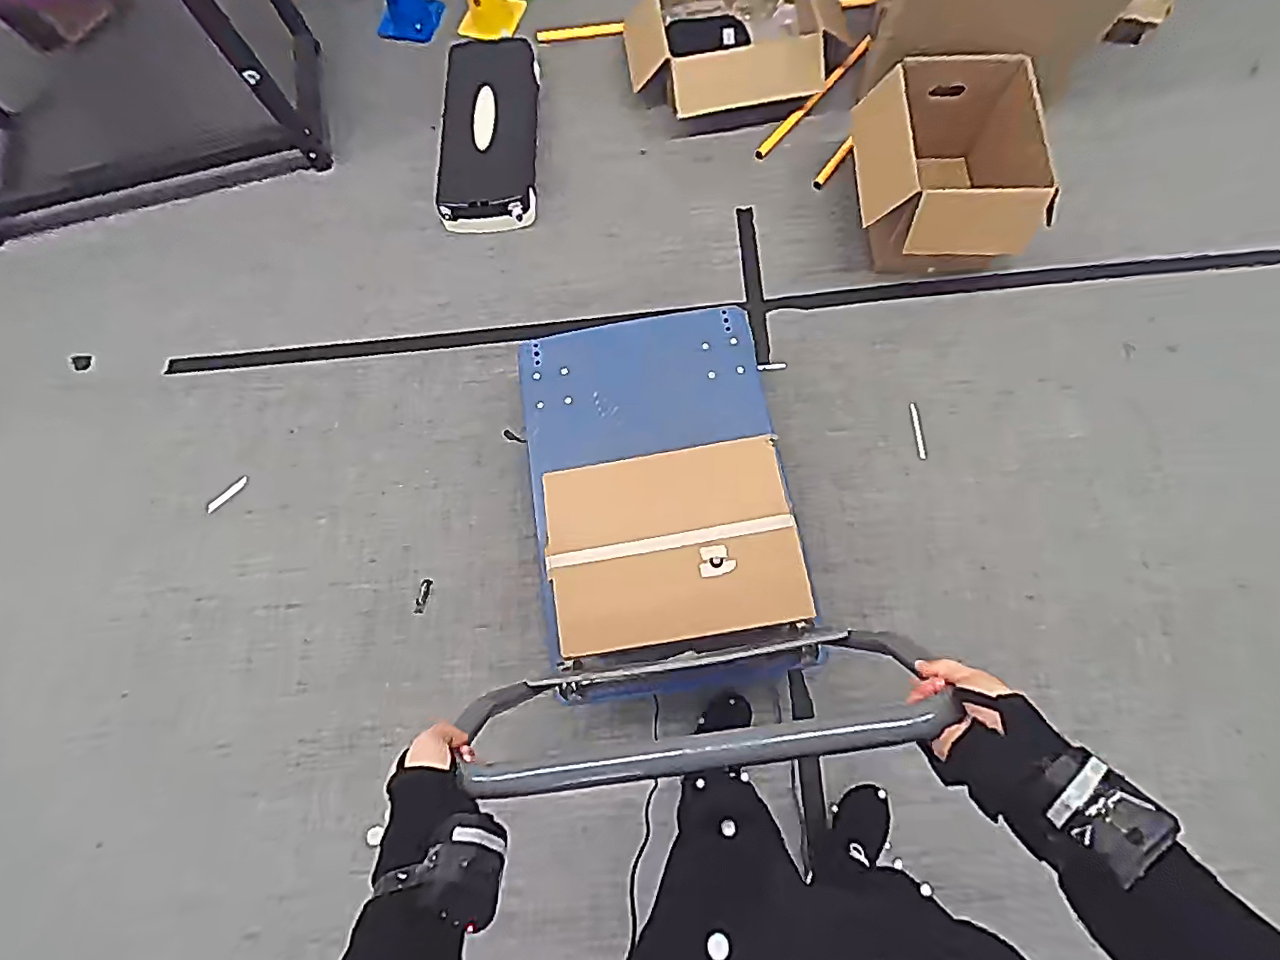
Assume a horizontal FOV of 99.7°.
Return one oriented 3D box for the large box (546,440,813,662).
[{"bbox_3d":[0.064,0.154,1.039,0.408,0.320,0.320,-10,73,1],"label":"large box"}]
